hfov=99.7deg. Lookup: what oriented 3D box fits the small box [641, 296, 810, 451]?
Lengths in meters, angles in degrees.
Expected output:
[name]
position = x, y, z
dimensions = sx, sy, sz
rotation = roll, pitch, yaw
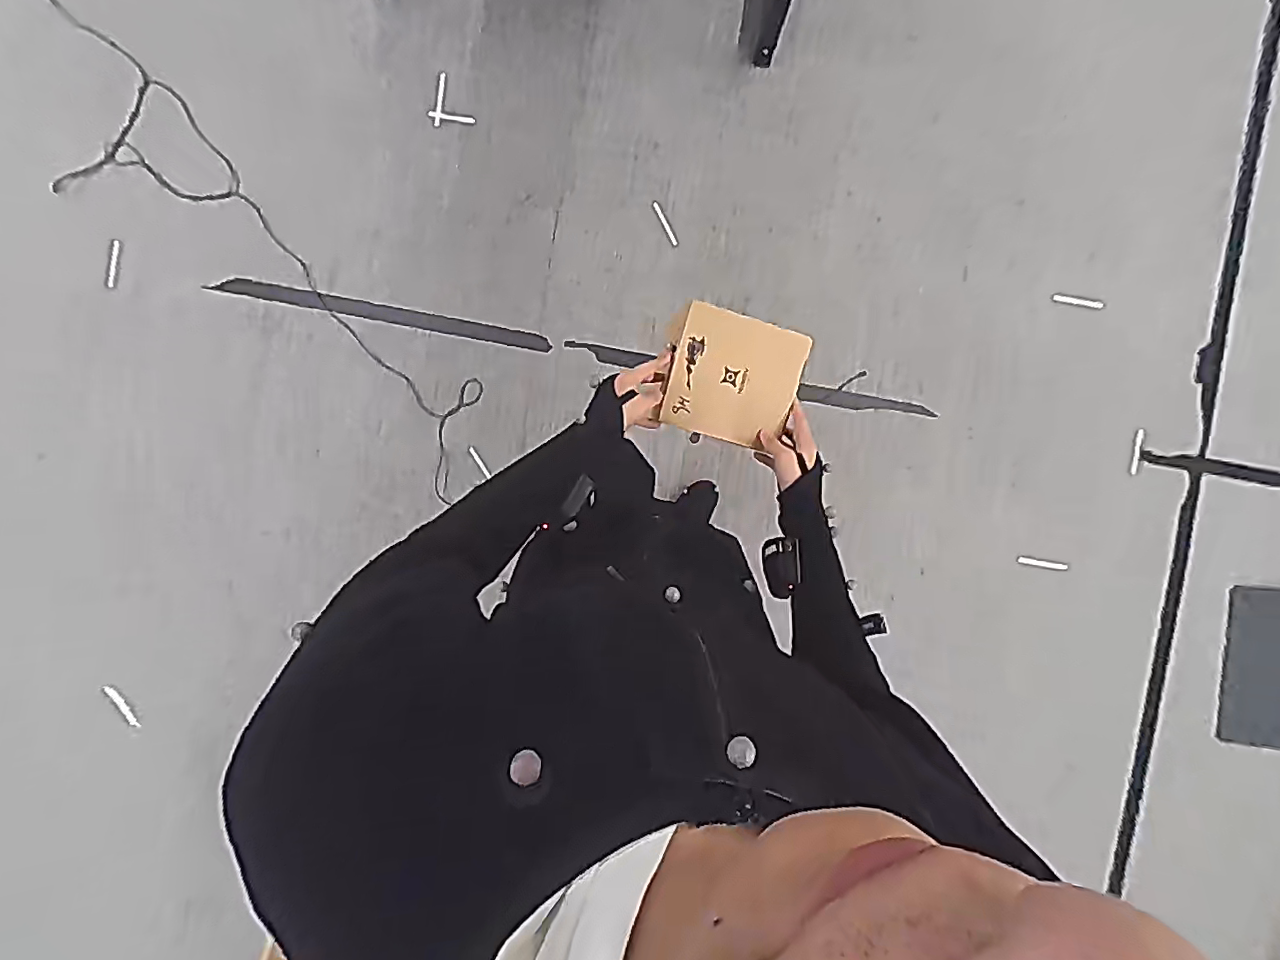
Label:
[small box]
position = 0.113, -0.151, 0.793
dimensions = 0.179, 0.176, 0.168
rotation = 15, 96, -10
